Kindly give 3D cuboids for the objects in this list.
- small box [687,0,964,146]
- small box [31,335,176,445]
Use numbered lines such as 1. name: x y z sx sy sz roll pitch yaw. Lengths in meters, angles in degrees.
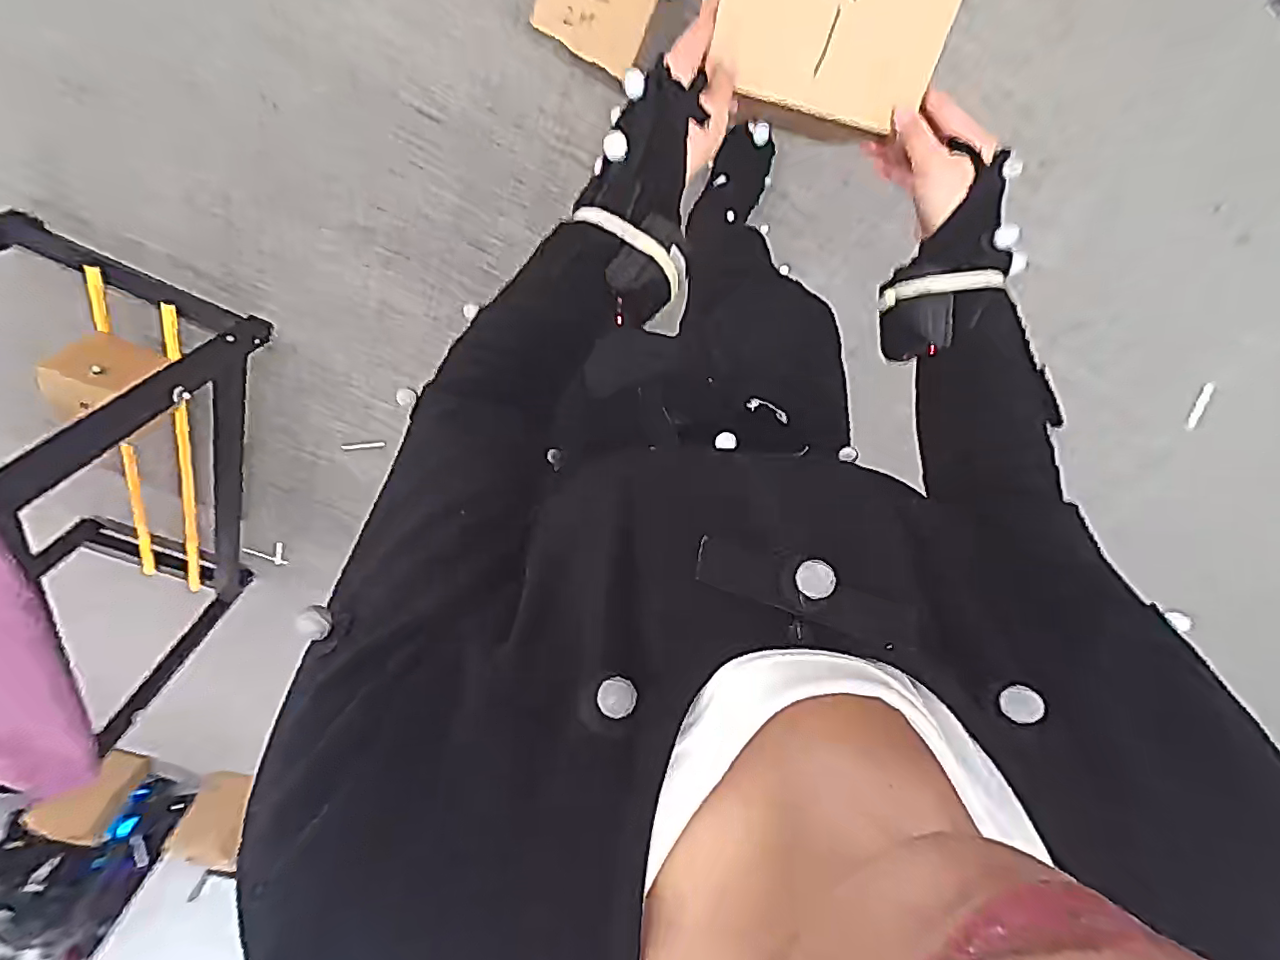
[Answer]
1. small box: 0.139 -0.384 0.425 0.168 0.176 0.179 10 119 -7
2. small box: -1.261 -0.221 1.287 0.179 0.176 0.168 23 129 -14
